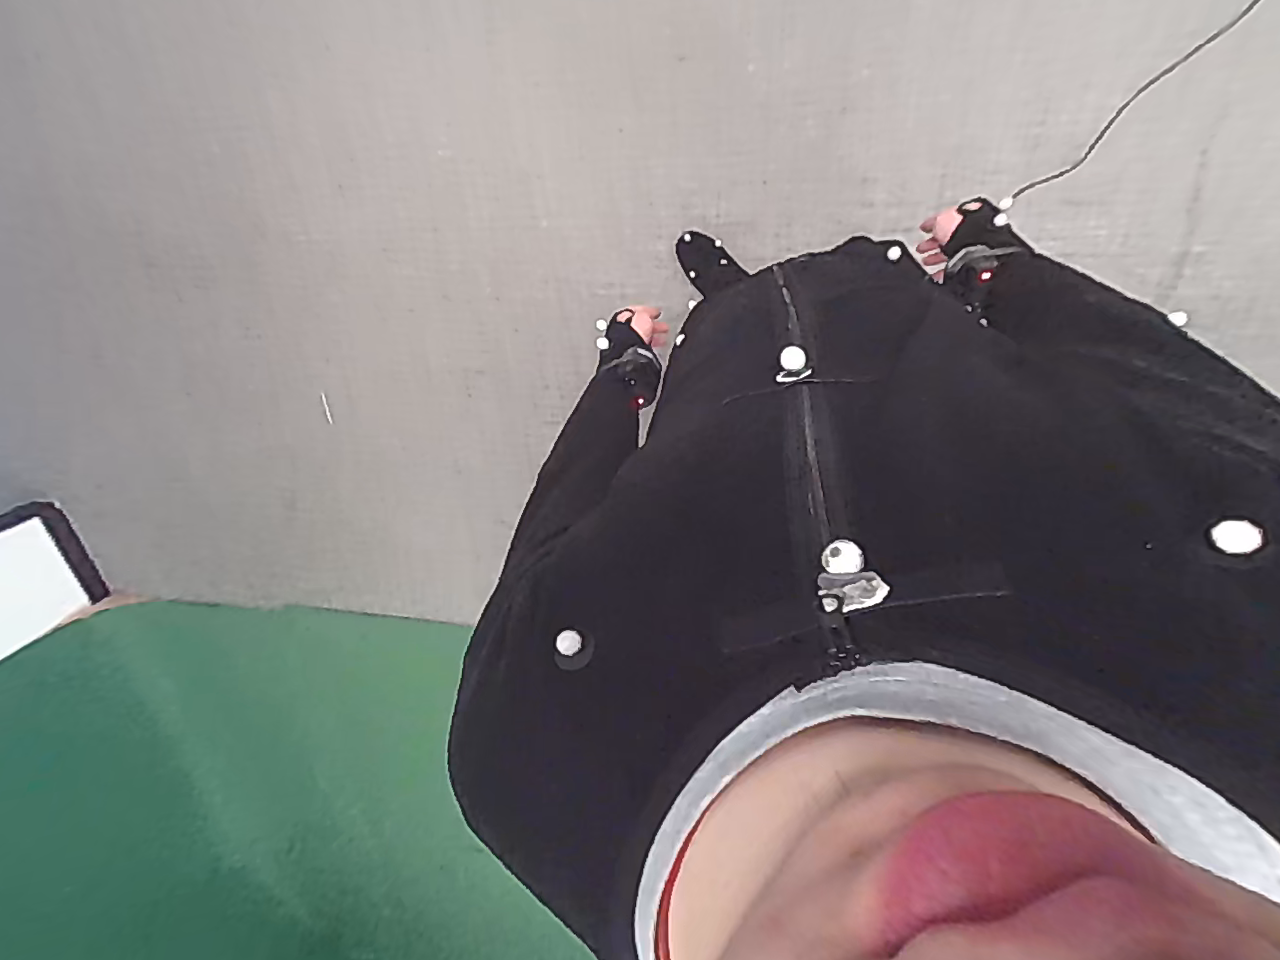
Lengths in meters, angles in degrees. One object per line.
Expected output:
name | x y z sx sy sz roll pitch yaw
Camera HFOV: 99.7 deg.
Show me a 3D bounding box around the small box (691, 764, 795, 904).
small box | 0.206 0.714 1.103 0.179 0.176 0.168 8 117 7
